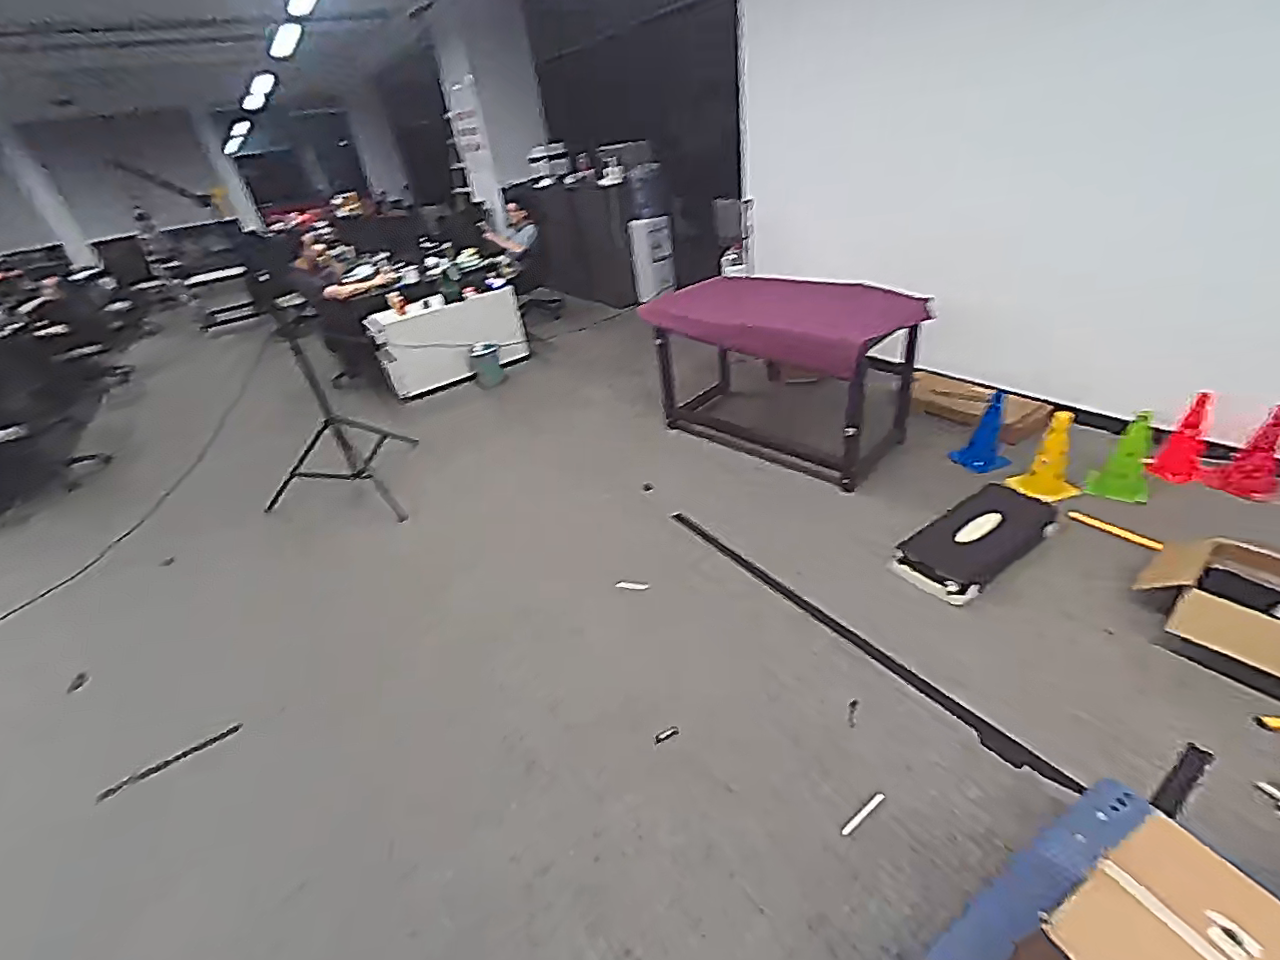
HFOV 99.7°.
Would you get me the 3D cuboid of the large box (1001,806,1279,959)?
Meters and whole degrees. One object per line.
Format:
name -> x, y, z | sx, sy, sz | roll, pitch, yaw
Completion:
large box -> 0.834, 0.813, 0.796 | 0.320, 0.320, 0.408 | -22, 35, -20
